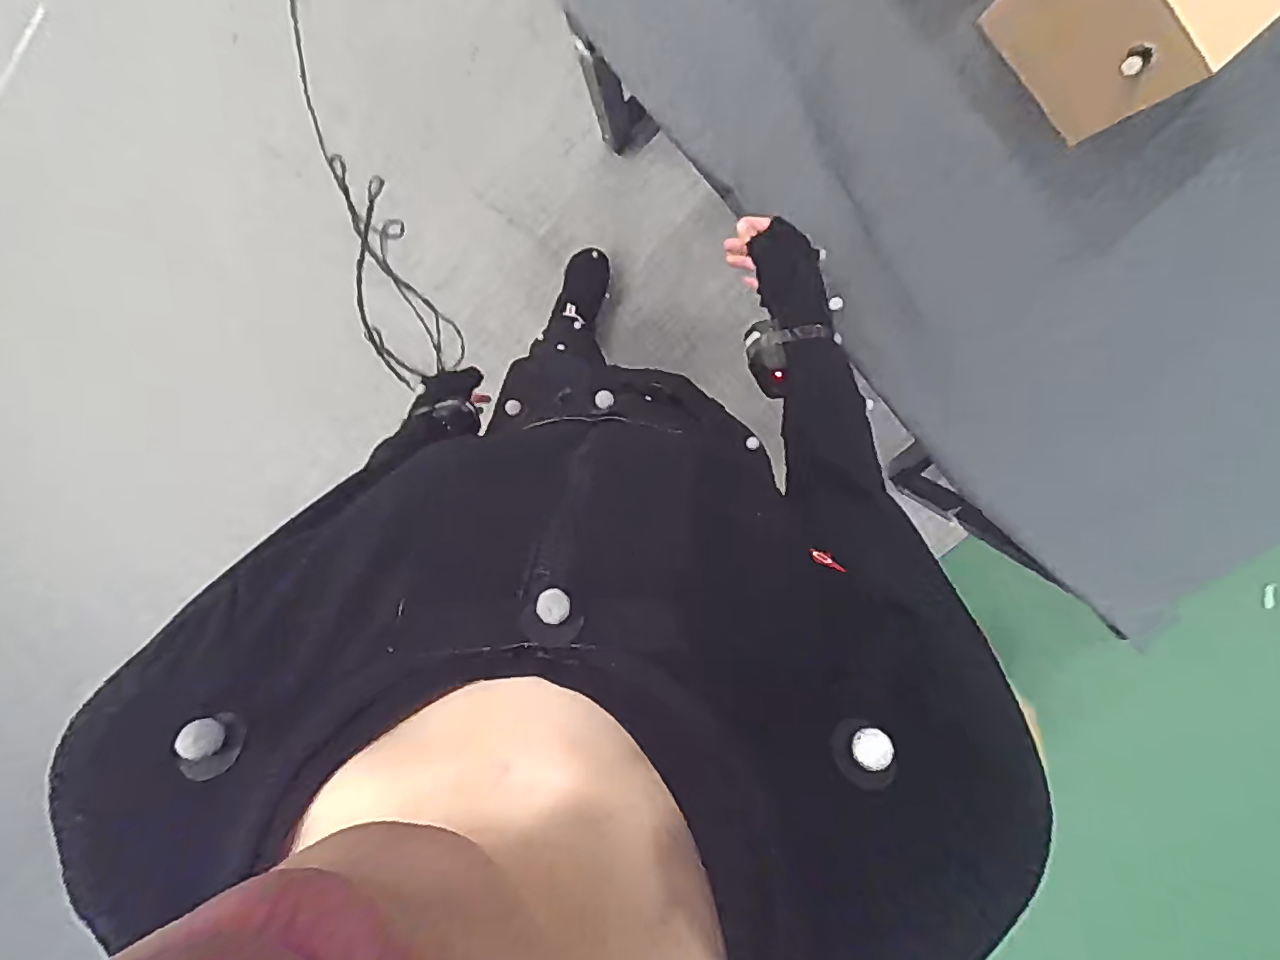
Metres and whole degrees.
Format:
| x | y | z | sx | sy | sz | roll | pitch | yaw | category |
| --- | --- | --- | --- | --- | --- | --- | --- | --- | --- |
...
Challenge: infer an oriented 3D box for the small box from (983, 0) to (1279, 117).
| x | y | z | sx | sy | sz | roll | pitch | yaw | category |
| --- | --- | --- | --- | --- | --- | --- | --- | --- | --- |
| 0.472 | -0.477 | 0.495 | 0.179 | 0.176 | 0.168 | 44 | 102 | -8 | small box |
